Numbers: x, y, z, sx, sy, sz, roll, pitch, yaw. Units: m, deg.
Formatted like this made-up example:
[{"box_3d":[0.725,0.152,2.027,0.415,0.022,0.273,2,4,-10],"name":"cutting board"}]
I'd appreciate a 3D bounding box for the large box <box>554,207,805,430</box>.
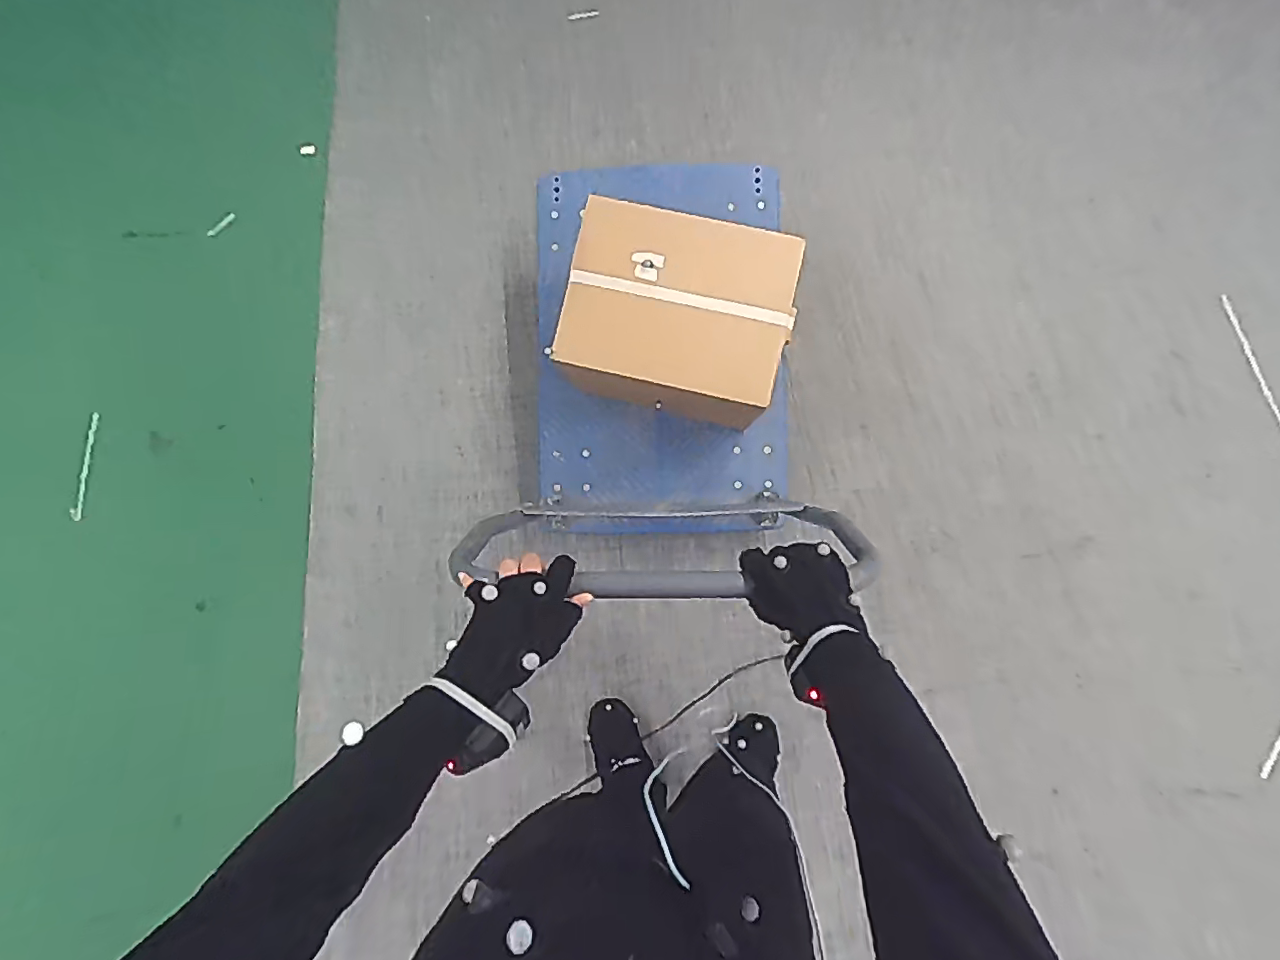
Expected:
[{"box_3d":[0.082,-0.305,1.119,0.408,0.320,0.320,14,89,5],"name":"large box"}]
